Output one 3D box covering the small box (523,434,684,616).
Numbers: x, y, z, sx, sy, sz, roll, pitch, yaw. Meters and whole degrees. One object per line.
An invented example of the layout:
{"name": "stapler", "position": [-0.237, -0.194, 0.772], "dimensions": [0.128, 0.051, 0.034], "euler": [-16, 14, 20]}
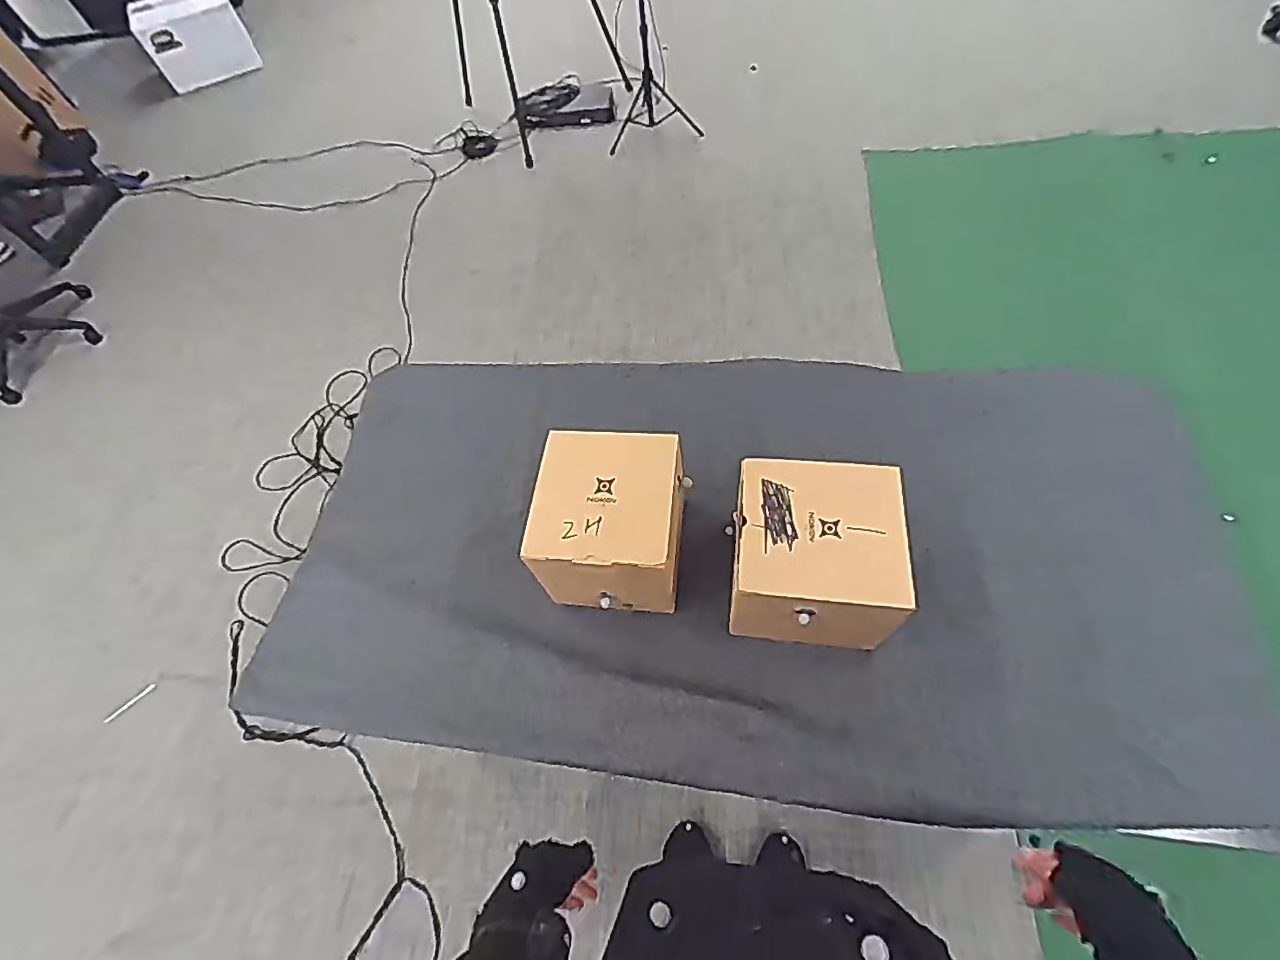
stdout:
{"name": "small box", "position": [-0.033, 0.060, 0.700], "dimensions": [0.168, 0.176, 0.179], "euler": [2, 60, 9]}
